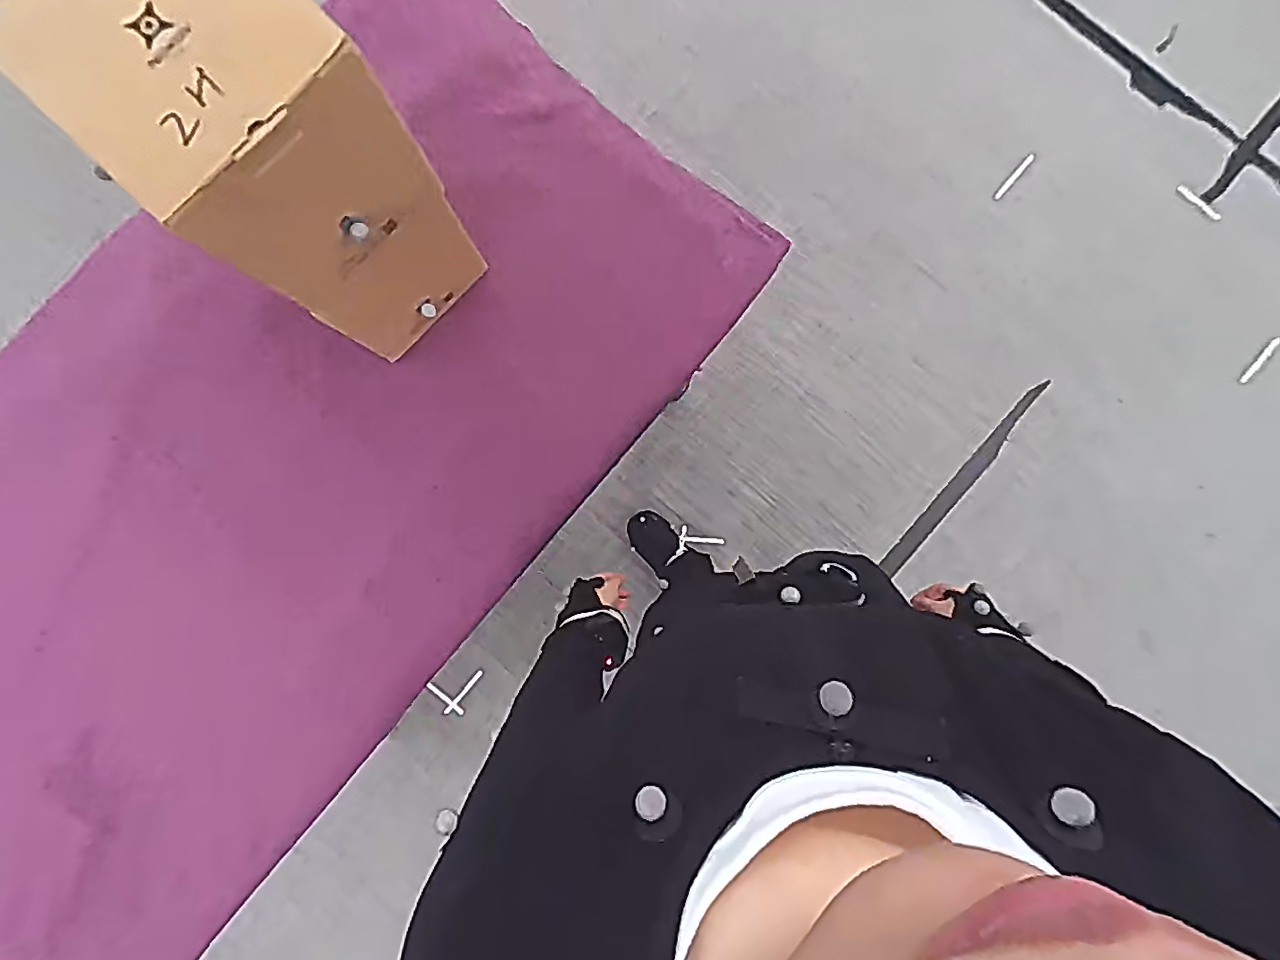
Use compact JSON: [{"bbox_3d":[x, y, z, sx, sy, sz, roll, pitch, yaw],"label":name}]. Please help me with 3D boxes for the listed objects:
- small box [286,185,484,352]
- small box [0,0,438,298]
[{"bbox_3d":[-0.299,-0.265,0.575,0.179,0.176,0.168,44,88,0],"label":"small box"},{"bbox_3d":[-0.294,-0.273,0.410,0.179,0.176,0.168,44,89,1],"label":"small box"}]
